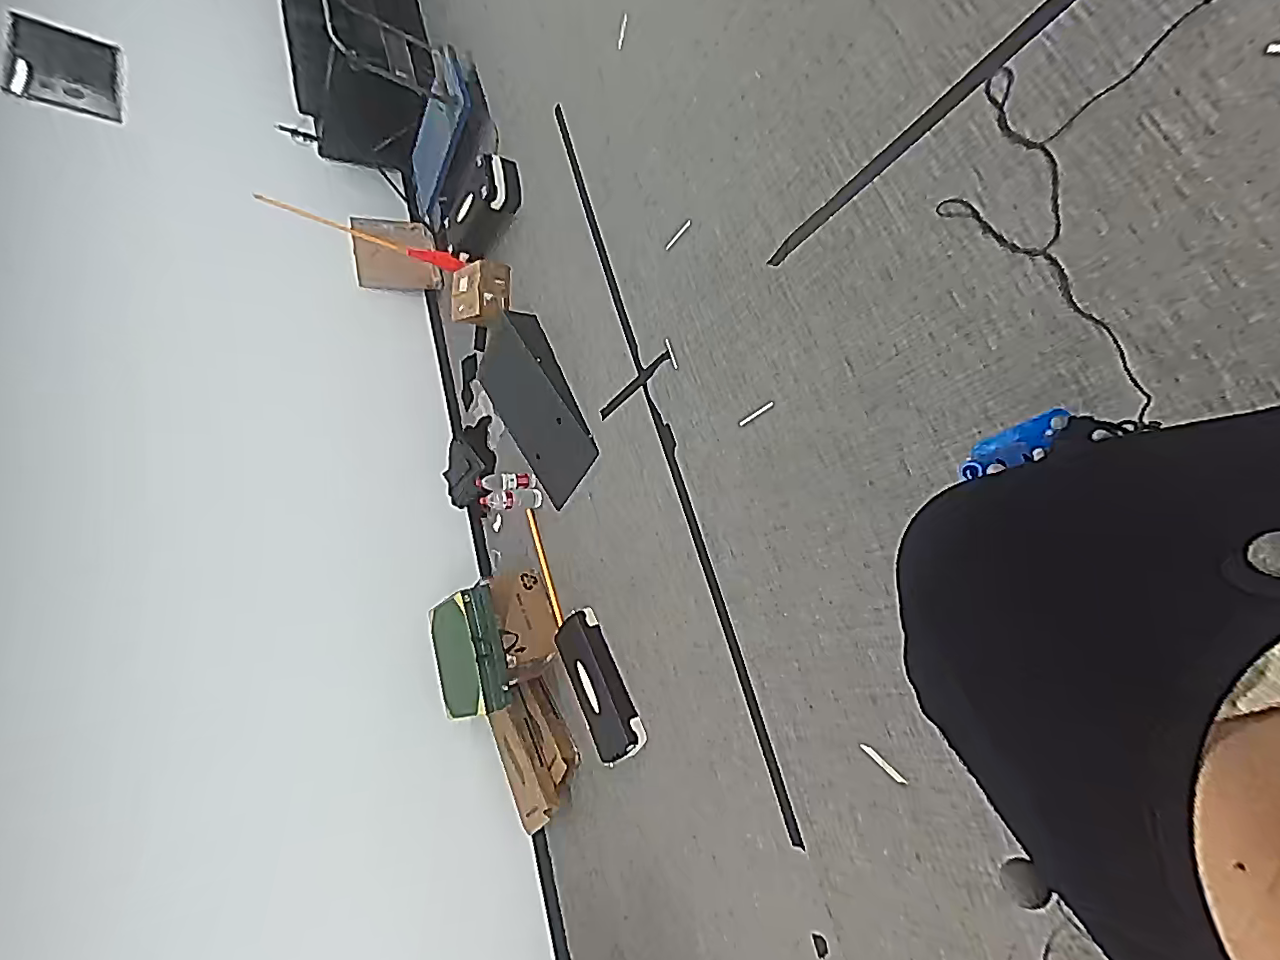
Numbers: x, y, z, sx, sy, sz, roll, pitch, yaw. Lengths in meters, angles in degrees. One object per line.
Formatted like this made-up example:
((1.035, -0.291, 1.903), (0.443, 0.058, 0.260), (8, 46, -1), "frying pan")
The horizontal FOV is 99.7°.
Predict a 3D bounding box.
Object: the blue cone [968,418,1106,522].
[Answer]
((0.738, -0.015, 1.072), (0.193, 0.380, 0.192), (-34, 67, 48), "blue cone")
